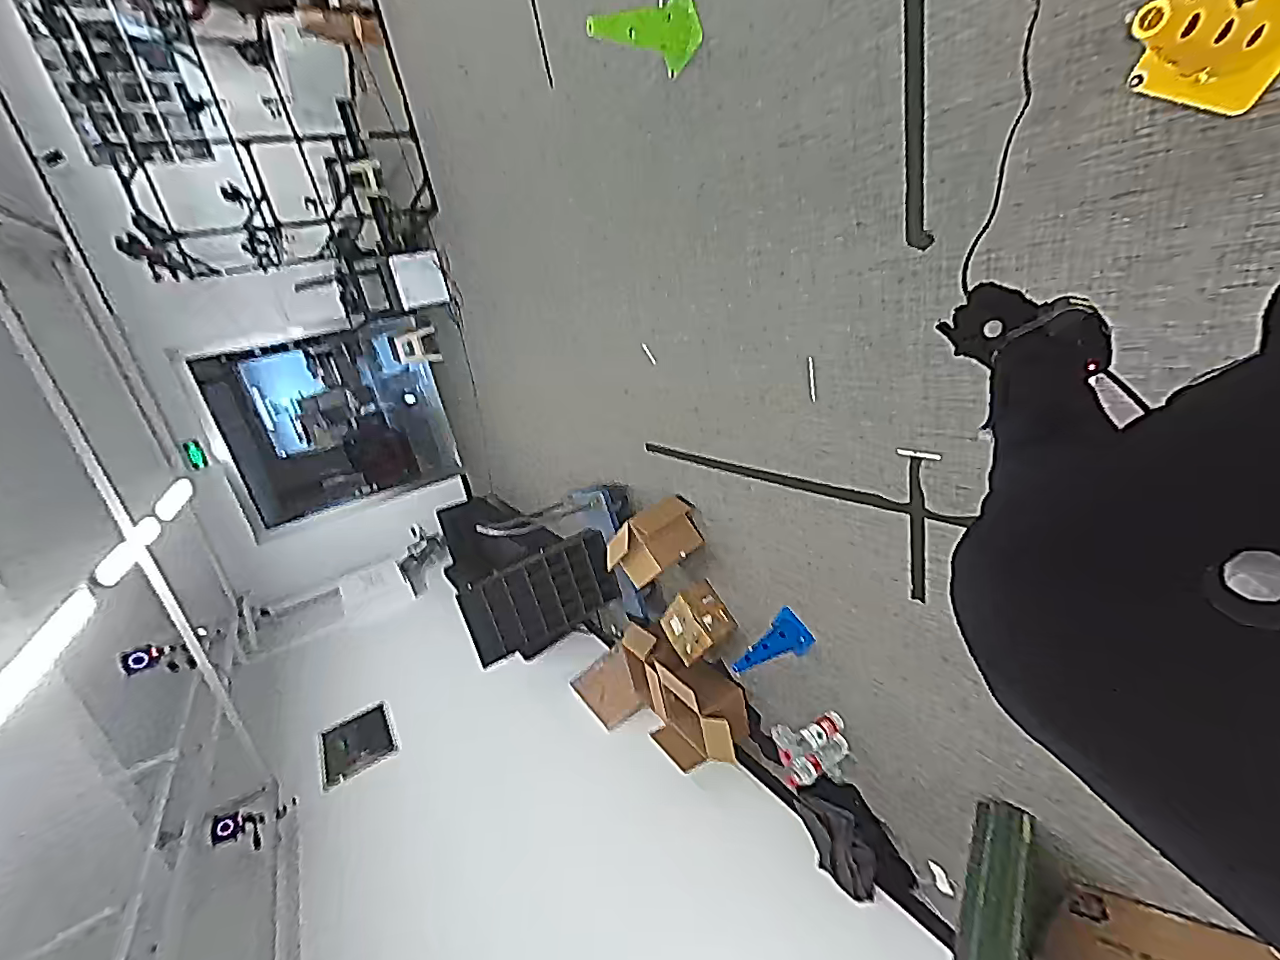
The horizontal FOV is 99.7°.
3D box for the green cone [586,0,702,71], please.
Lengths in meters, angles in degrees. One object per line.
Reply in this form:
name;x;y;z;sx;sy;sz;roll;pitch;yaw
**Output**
green cone;-0.008;-1.498;1.761;0.200;0.368;0.202;-9;101;62
